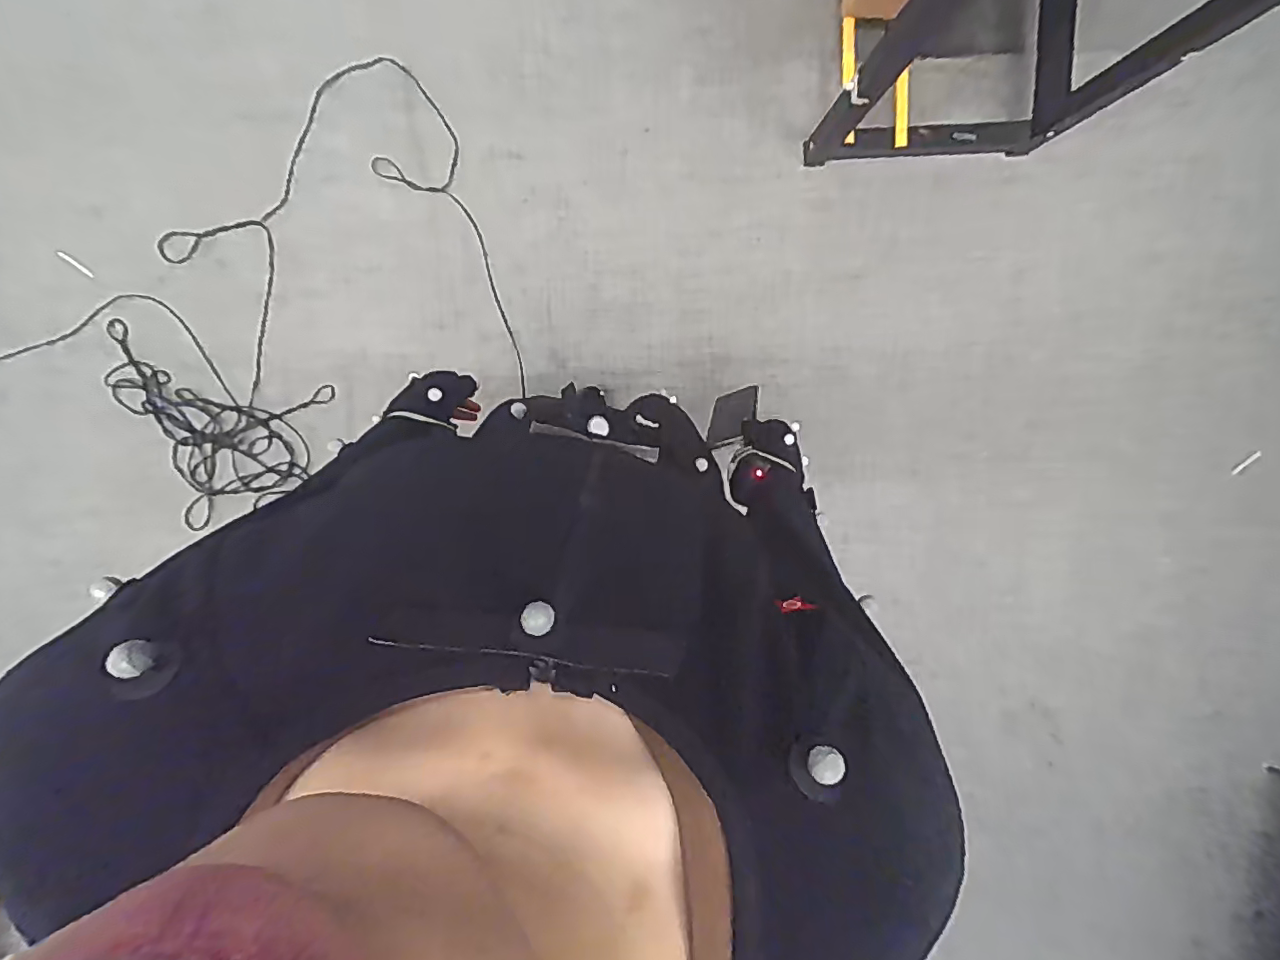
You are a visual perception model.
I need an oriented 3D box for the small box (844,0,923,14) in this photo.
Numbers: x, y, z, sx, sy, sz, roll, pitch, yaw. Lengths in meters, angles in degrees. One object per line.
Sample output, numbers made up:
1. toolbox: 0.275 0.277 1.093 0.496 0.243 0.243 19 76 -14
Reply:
1. small box: 0.542 -1.117 1.124 0.179 0.176 0.168 0 100 -1
